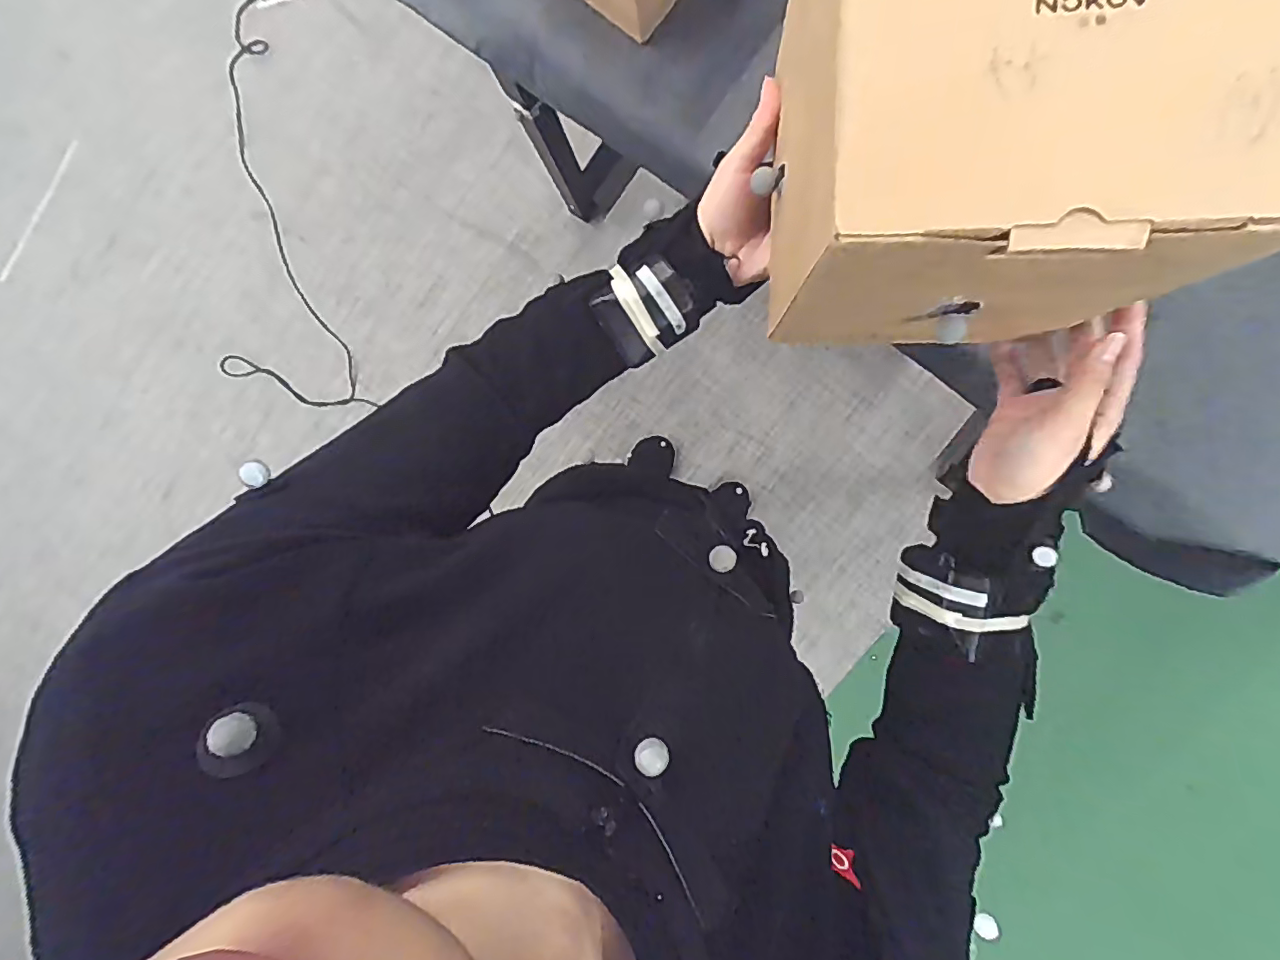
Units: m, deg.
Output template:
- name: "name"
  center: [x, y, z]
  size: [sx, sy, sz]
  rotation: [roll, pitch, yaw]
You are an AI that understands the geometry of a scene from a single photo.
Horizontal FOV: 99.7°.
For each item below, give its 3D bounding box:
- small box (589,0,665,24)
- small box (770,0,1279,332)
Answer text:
- name: "small box"
  center: [-0.019, -0.604, 0.521]
  size: [0.179, 0.176, 0.168]
  rotation: [39, 94, 2]
- name: "small box"
  center: [0.159, -0.174, 0.265]
  size: [0.168, 0.176, 0.179]
  rotation: [1, 93, 6]
